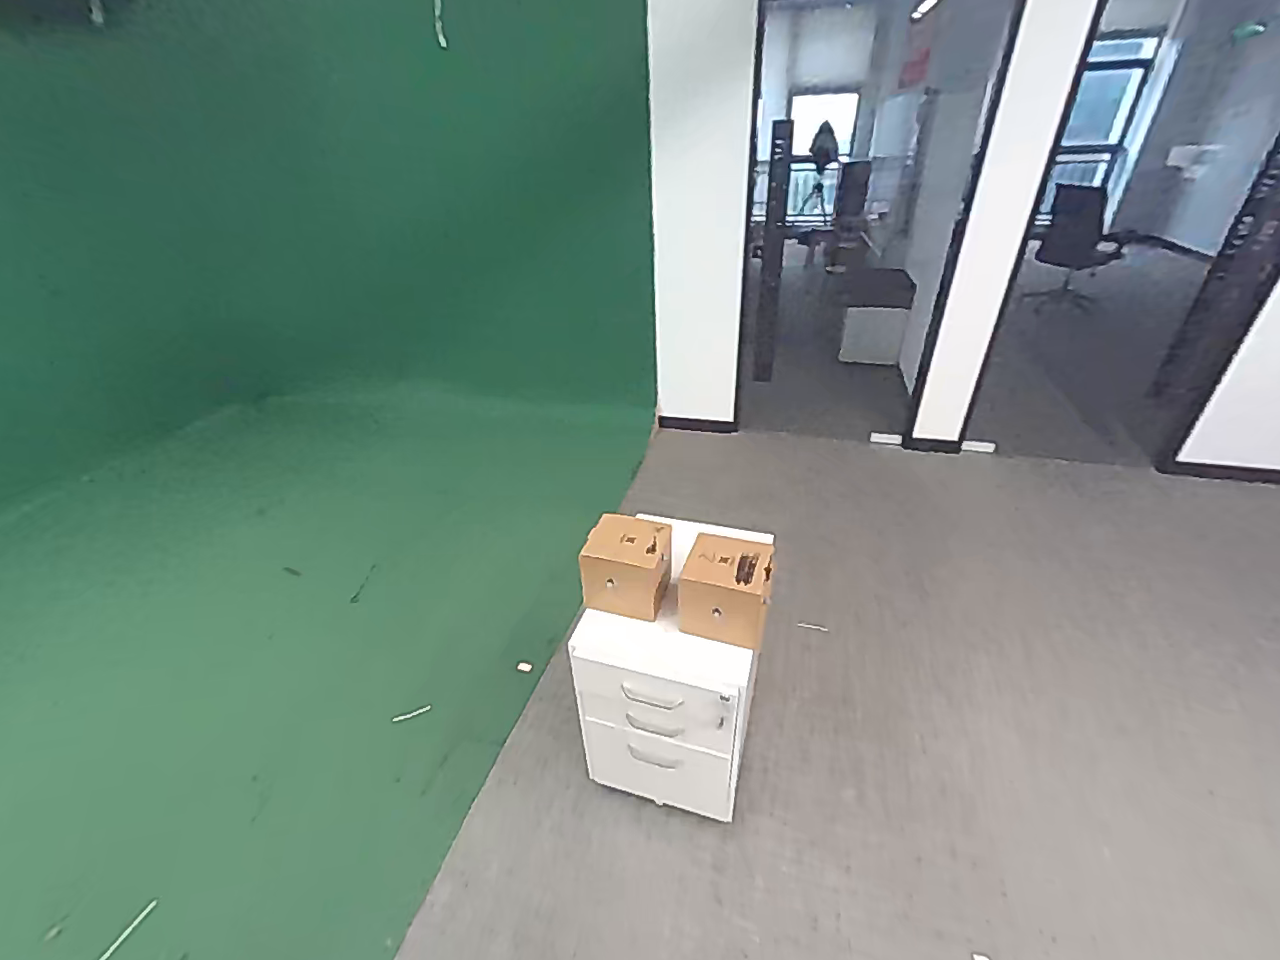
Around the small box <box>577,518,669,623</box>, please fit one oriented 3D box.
[{"bbox_3d":[-0.034,0.215,1.283,0.179,0.176,0.168,8,34,15],"label":"small box"}]
